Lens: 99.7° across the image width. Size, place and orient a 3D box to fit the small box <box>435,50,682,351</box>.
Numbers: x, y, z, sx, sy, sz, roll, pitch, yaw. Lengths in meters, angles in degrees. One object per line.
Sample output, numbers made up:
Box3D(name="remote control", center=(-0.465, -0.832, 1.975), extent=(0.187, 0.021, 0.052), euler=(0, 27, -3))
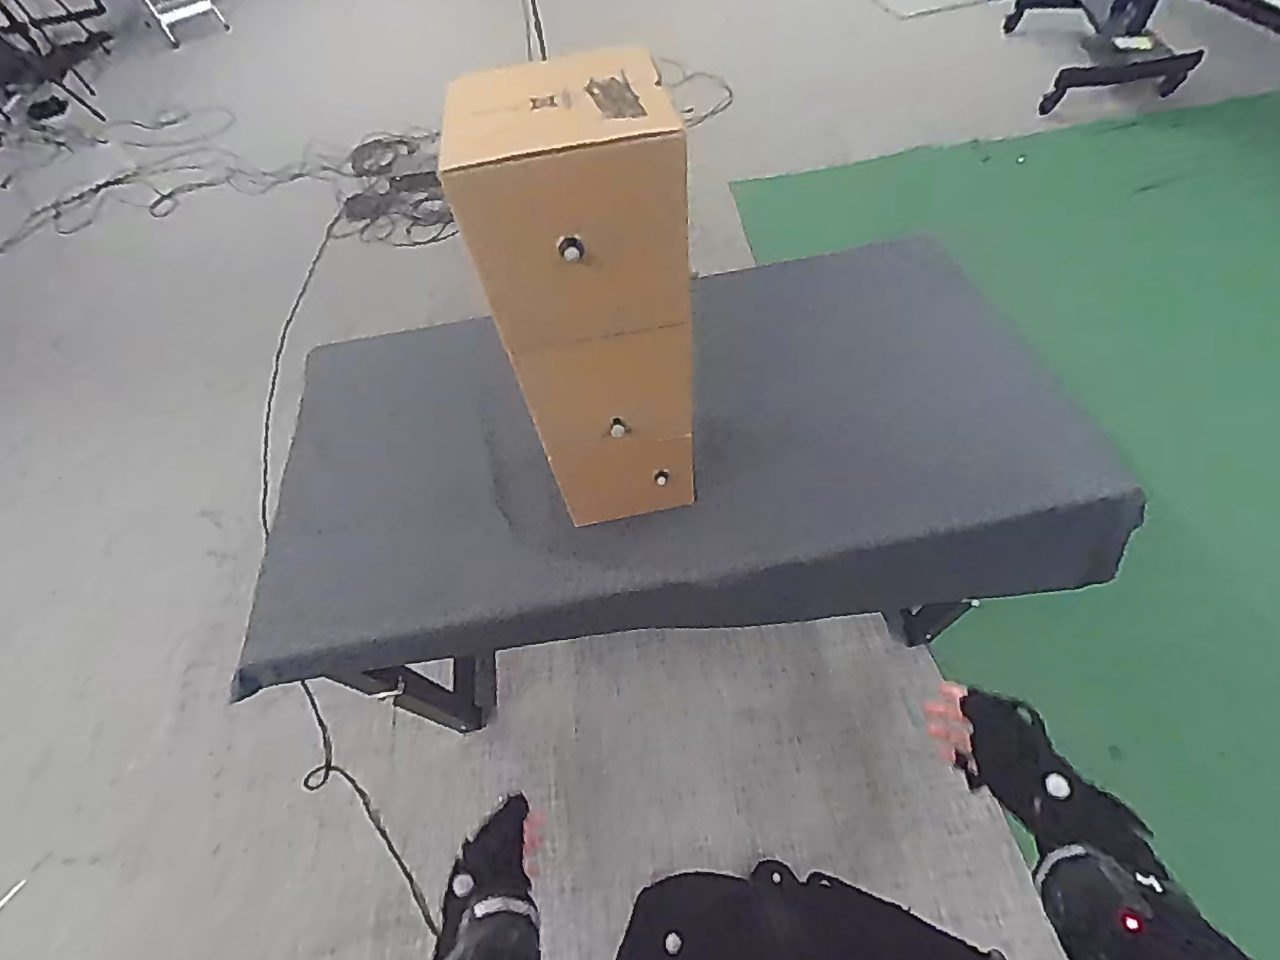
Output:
Box3D(name="small box", center=(-0.061, -0.242, 0.485), extent=(0.179, 0.176, 0.168), euler=(-11, 55, 0))

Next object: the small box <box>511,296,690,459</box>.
Box3D(name="small box", center=(-0.046, -0.148, 0.623), extent=(0.179, 0.176, 0.168), euler=(-13, 57, -2))

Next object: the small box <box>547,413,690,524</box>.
Box3D(name="small box", center=(-0.031, -0.059, 0.756), extent=(0.179, 0.176, 0.168), euler=(-12, 55, -1))
